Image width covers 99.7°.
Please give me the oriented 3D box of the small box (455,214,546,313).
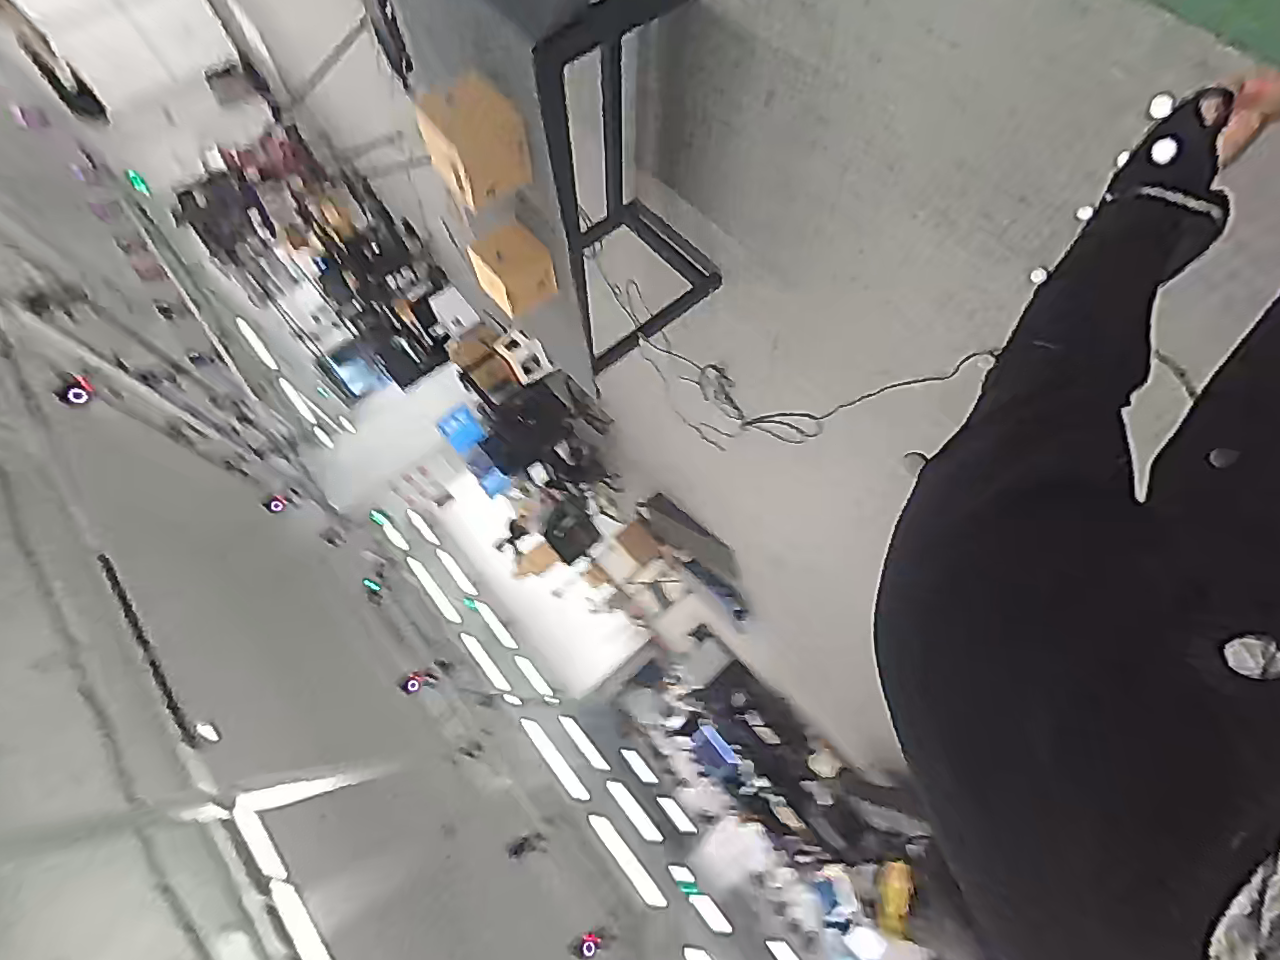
[{"bbox_3d":[-0.391,-0.622,1.541,0.179,0.176,0.168,46,164,14],"label":"small box"}]
